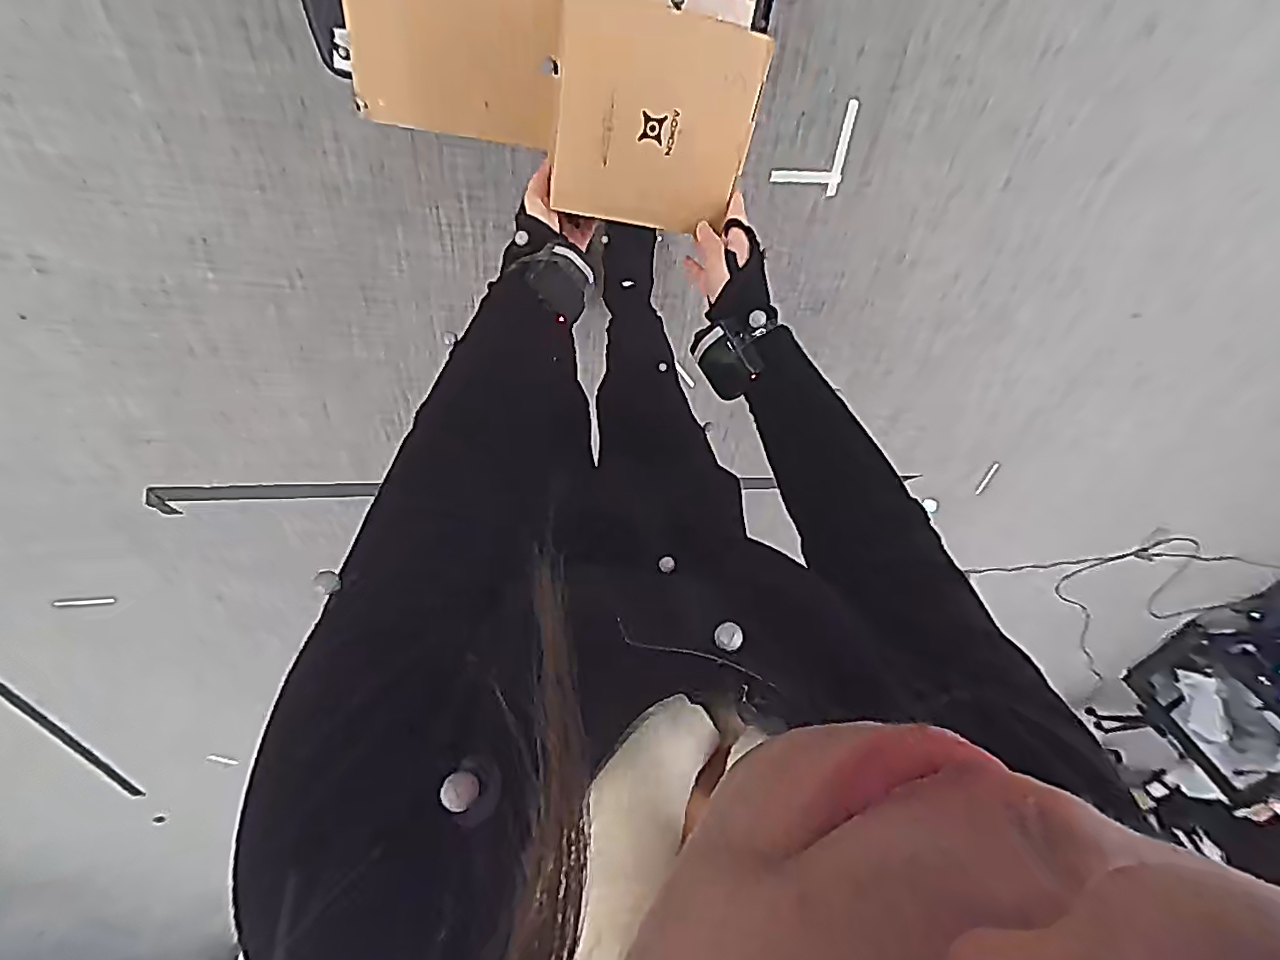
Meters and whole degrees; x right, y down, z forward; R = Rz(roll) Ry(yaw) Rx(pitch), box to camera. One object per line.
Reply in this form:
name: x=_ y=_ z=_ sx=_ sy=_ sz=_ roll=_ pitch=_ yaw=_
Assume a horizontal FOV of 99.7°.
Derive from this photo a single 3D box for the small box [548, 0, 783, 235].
small box: x=0.007 y=-0.365 z=0.530 sx=0.179 sy=0.176 sz=0.168 roll=4 pitch=130 yaw=-14
